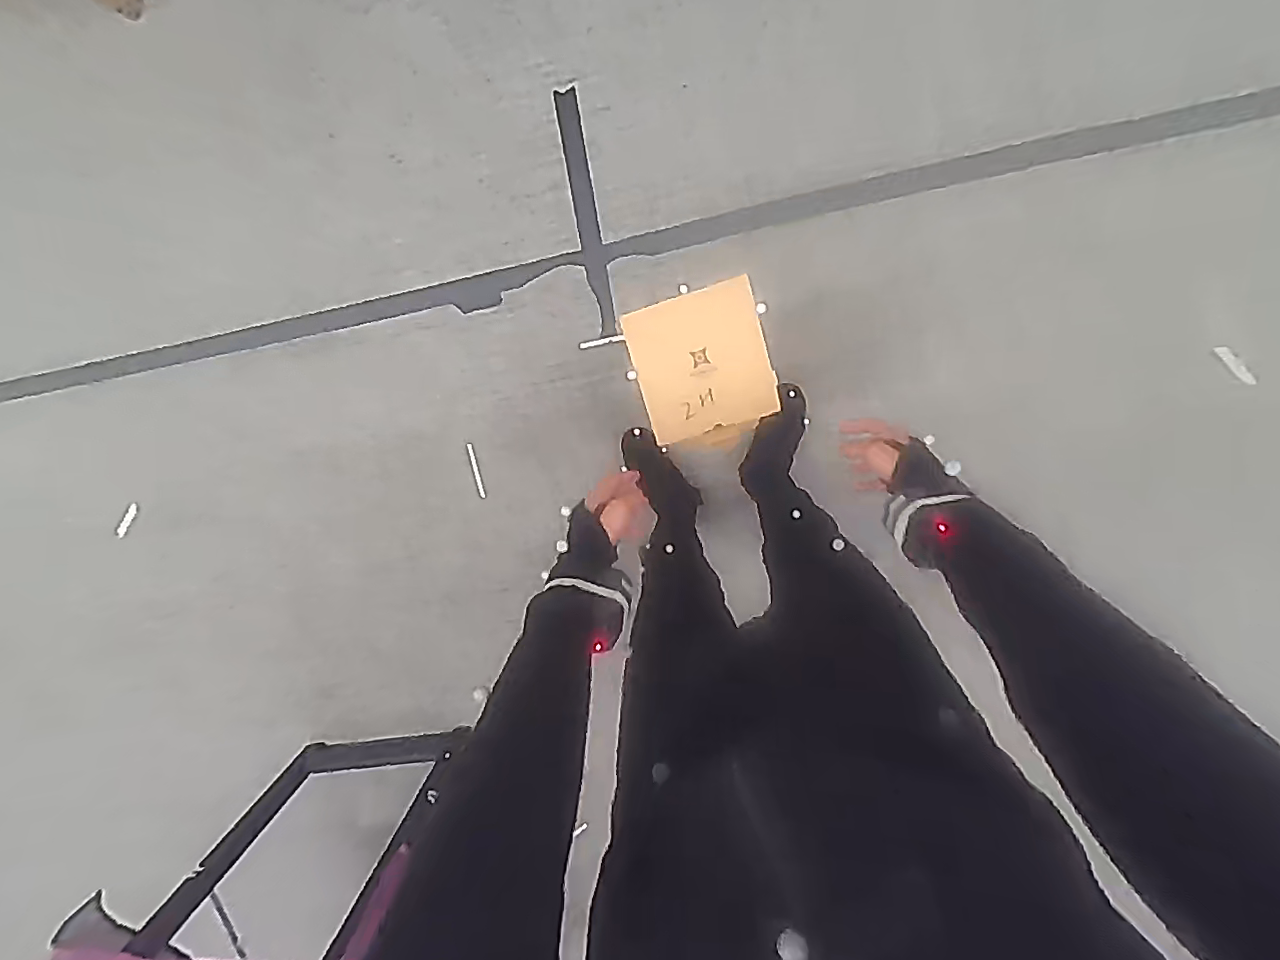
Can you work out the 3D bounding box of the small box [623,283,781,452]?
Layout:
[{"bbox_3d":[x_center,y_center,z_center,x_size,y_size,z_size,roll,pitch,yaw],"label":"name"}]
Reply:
[{"bbox_3d":[0.084,-0.158,0.757,0.168,0.176,0.179,-16,105,10],"label":"small box"}]
